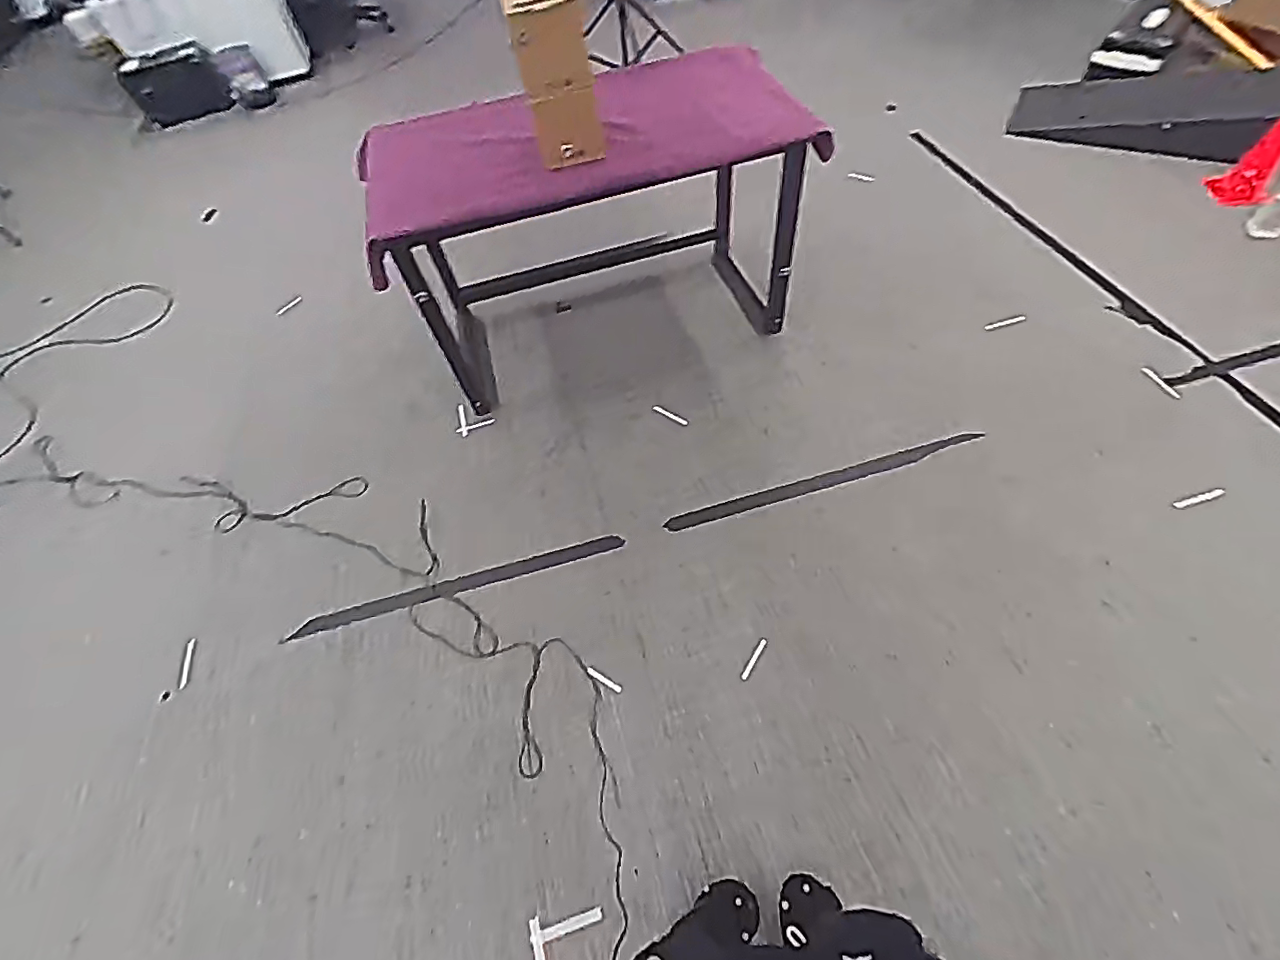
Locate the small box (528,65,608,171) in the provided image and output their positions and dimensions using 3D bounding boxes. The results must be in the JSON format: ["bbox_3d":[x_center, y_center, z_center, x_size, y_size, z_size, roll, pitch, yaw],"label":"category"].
[{"bbox_3d":[-0.187,-0.949,1.422,0.168,0.176,0.179,-15,57,-2],"label":"small box"}]
